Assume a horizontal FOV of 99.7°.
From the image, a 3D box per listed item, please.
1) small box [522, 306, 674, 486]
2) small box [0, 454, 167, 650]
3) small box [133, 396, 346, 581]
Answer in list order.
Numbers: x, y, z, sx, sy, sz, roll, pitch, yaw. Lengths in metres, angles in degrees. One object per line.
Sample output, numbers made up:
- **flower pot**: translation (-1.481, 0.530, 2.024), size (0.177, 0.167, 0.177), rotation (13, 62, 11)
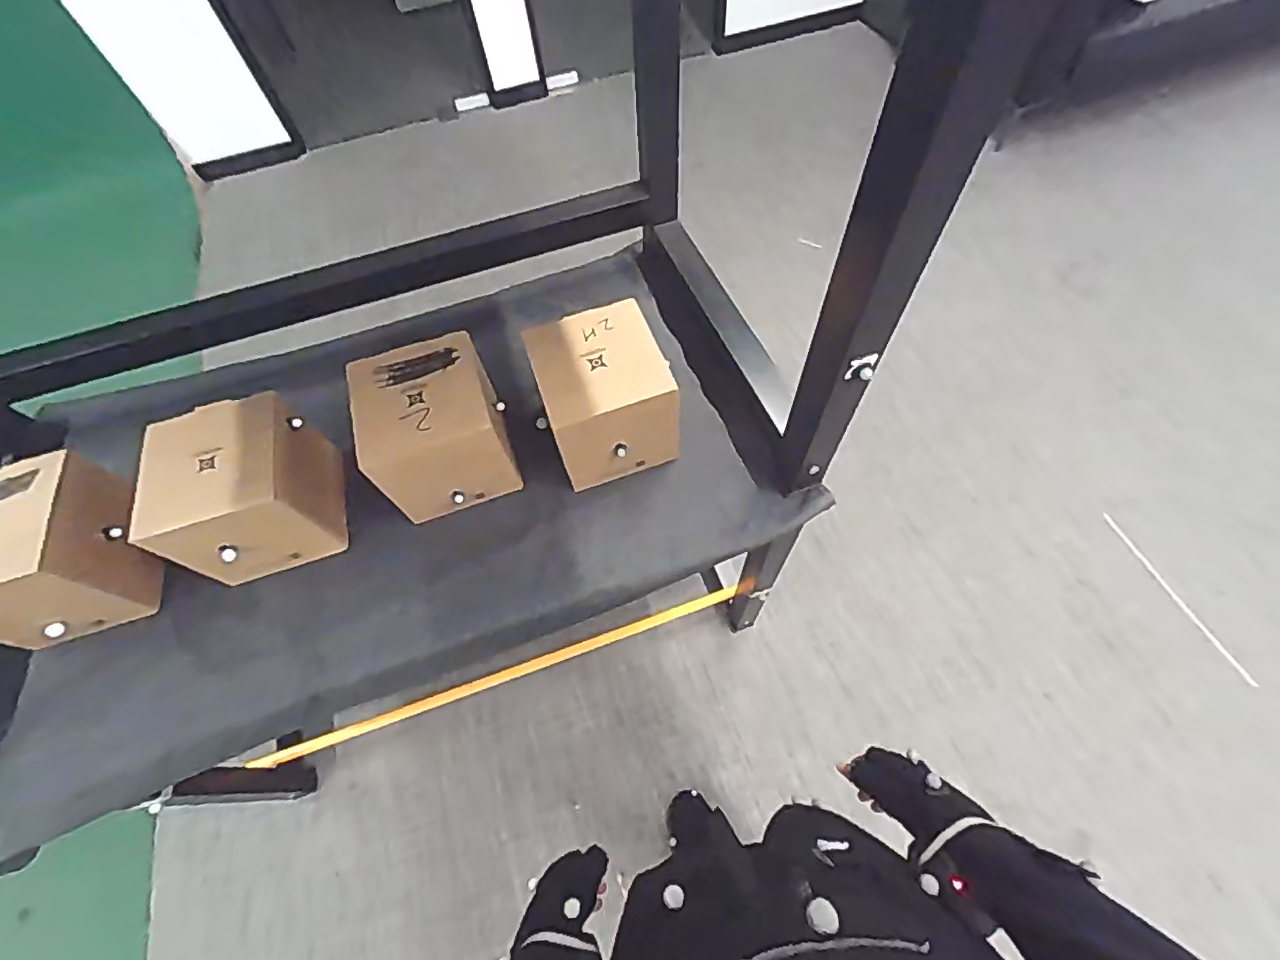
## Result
- **small box**: translation (-0.053, -0.109, 0.774), size (0.168, 0.176, 0.179), rotation (-18, 61, -6)
- **small box**: translation (-0.763, 0.099, 0.704), size (0.168, 0.176, 0.179), rotation (-17, 62, -6)
- **small box**: translation (-0.524, 0.022, 0.735), size (0.168, 0.176, 0.179), rotation (-18, 61, -6)
